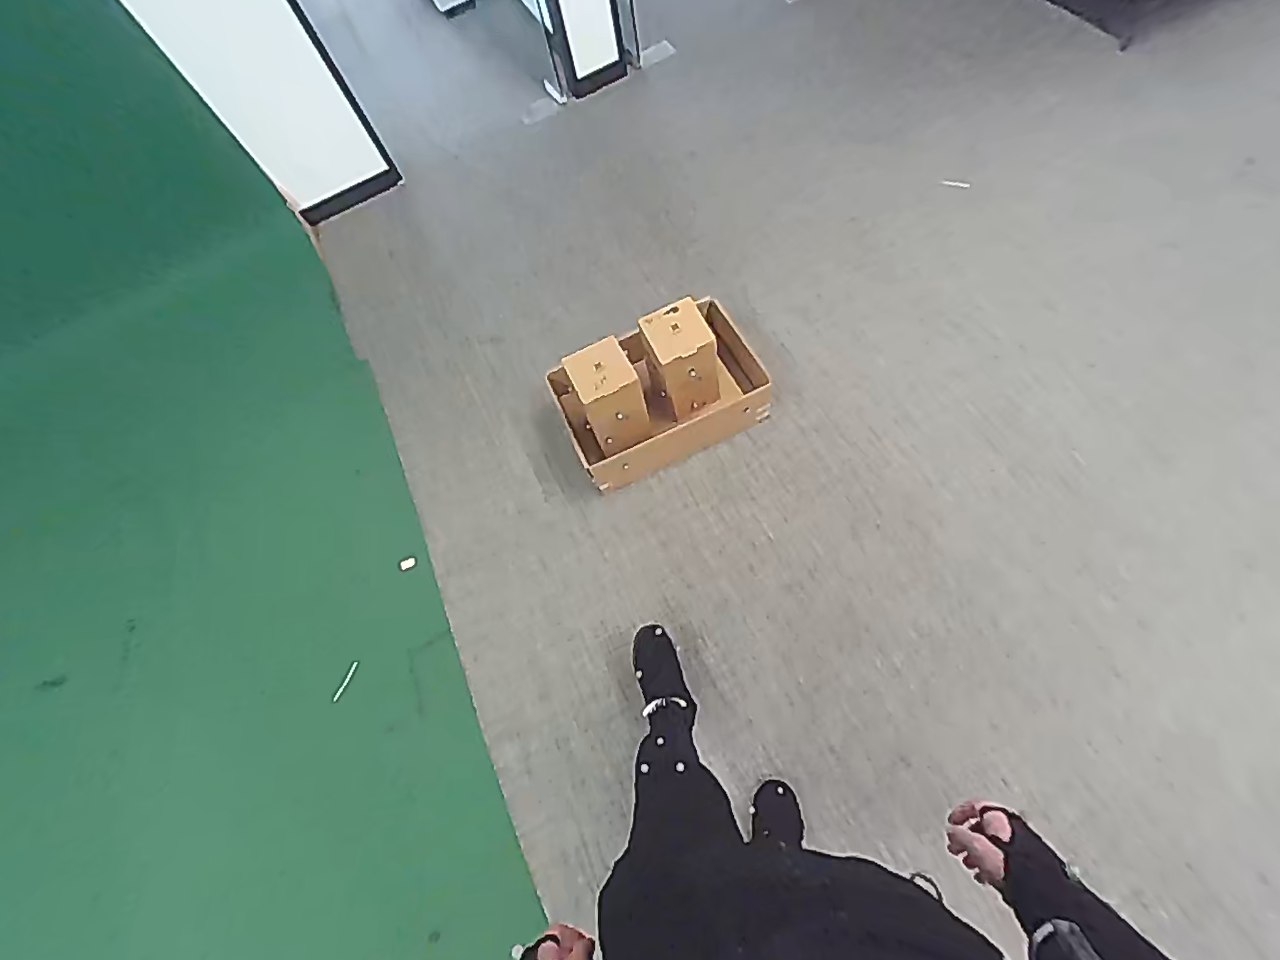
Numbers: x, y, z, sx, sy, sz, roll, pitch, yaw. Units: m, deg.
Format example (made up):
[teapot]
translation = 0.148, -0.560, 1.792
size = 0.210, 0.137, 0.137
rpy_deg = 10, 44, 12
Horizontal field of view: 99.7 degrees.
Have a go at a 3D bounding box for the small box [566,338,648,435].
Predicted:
[small box]
translation = -0.090, -0.261, 1.539
size = 0.168, 0.176, 0.179
rpy_deg = -26, 64, -3
